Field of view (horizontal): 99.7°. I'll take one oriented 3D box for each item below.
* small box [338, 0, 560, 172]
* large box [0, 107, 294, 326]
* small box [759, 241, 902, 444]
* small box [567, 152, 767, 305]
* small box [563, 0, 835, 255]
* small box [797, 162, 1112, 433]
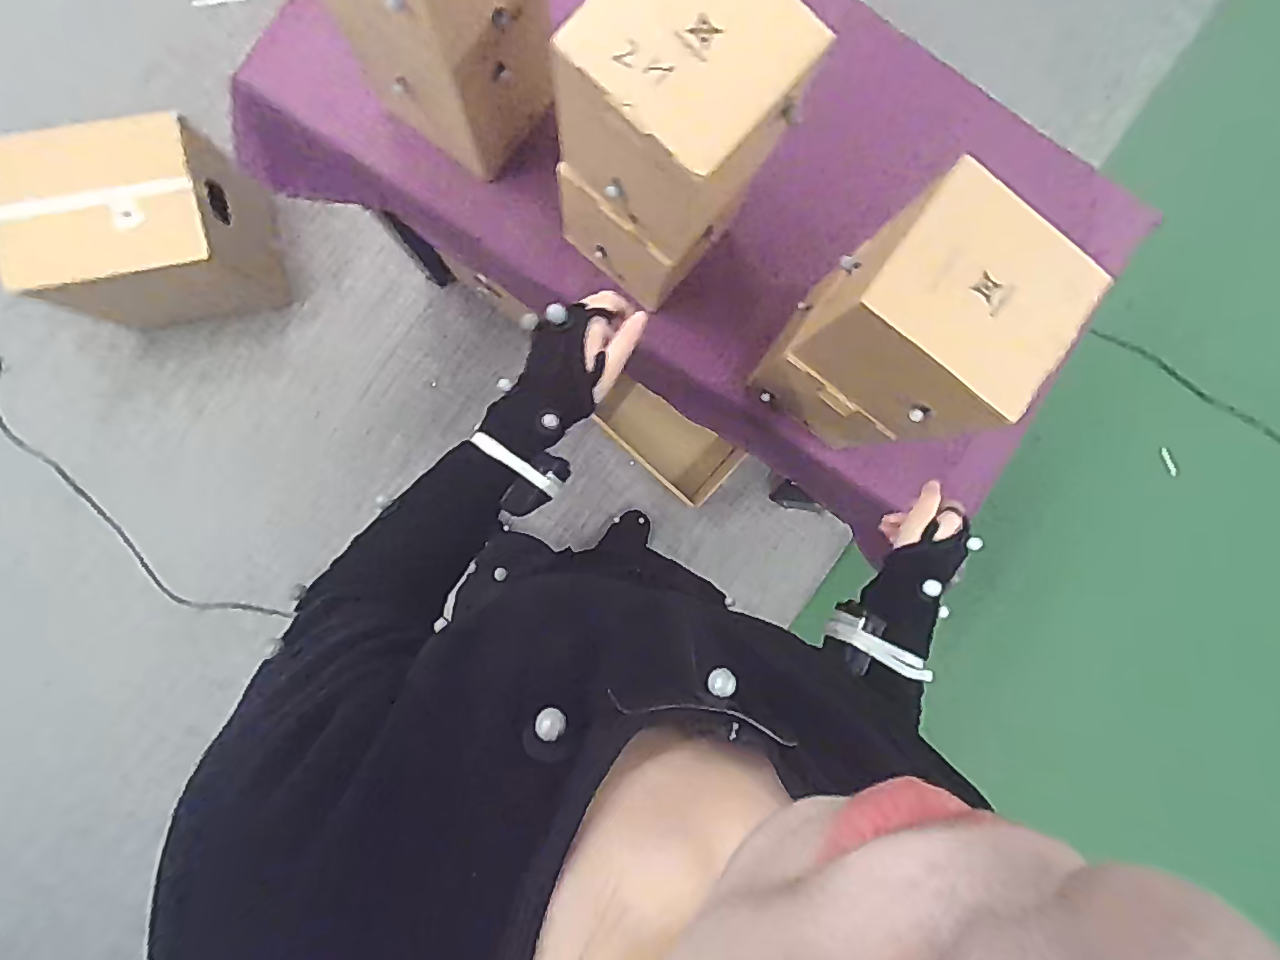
[{"bbox_3d":[-0.218,-0.530,0.666,0.179,0.176,0.168,36,88,-3],"label":"small box"},{"bbox_3d":[-1.116,-0.584,1.254,0.408,0.320,0.320,-12,92,-5],"label":"large box"},{"bbox_3d":[0.278,-0.163,0.710,0.168,0.176,0.179,36,87,-4],"label":"small box"},{"bbox_3d":[0.025,-0.359,0.690,0.168,0.176,0.179,41,88,-4],"label":"small box"},{"bbox_3d":[0.044,-0.363,0.527,0.168,0.176,0.179,42,88,-3],"label":"small box"},{"bbox_3d":[0.296,-0.162,0.548,0.179,0.176,0.168,38,86,-3],"label":"small box"}]
